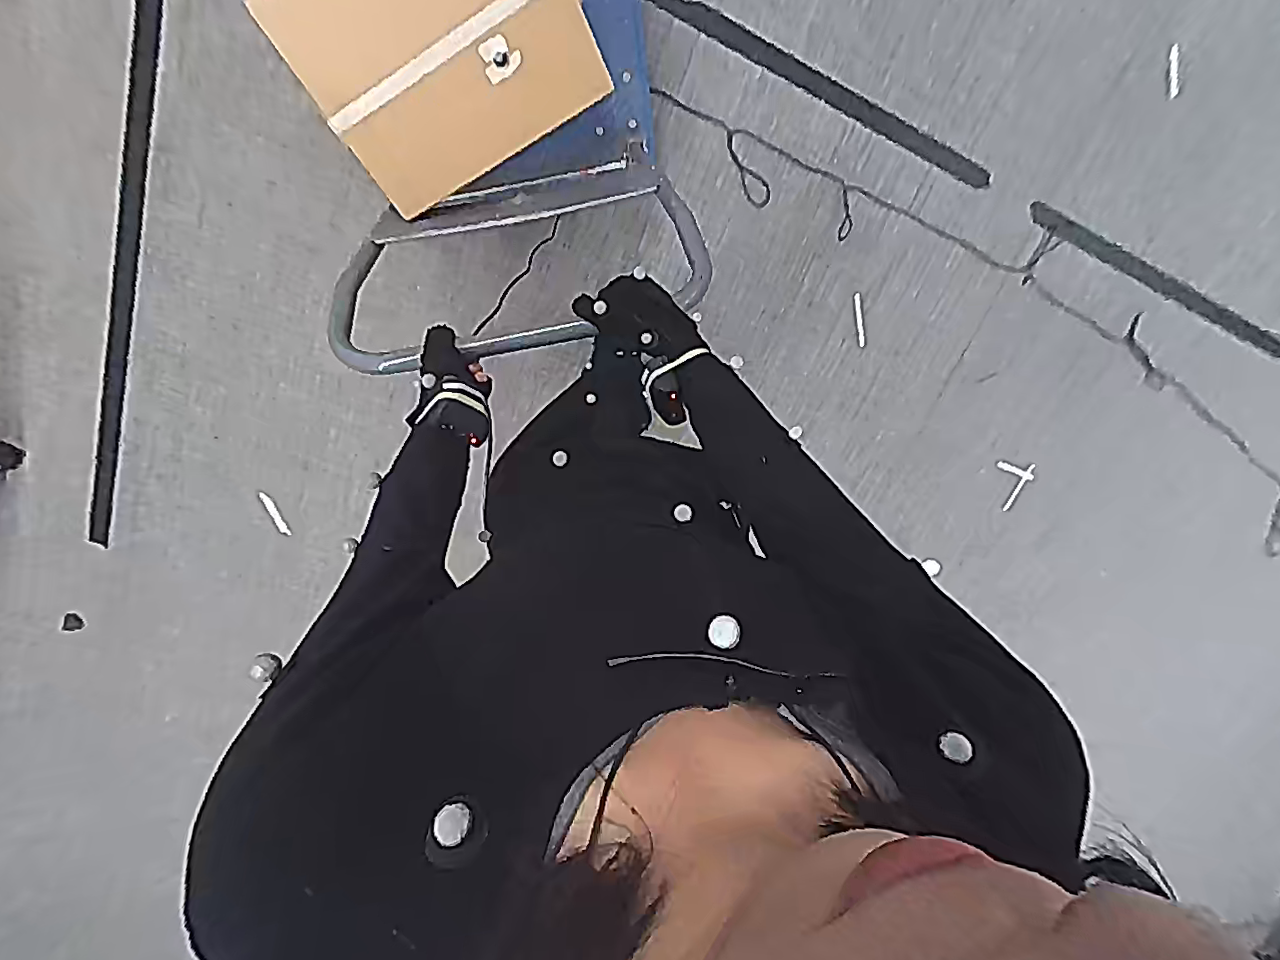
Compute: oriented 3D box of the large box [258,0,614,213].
[{"bbox_3d":[-0.300,-0.721,0.896,0.408,0.320,0.320,-27,128,10],"label":"large box"}]
